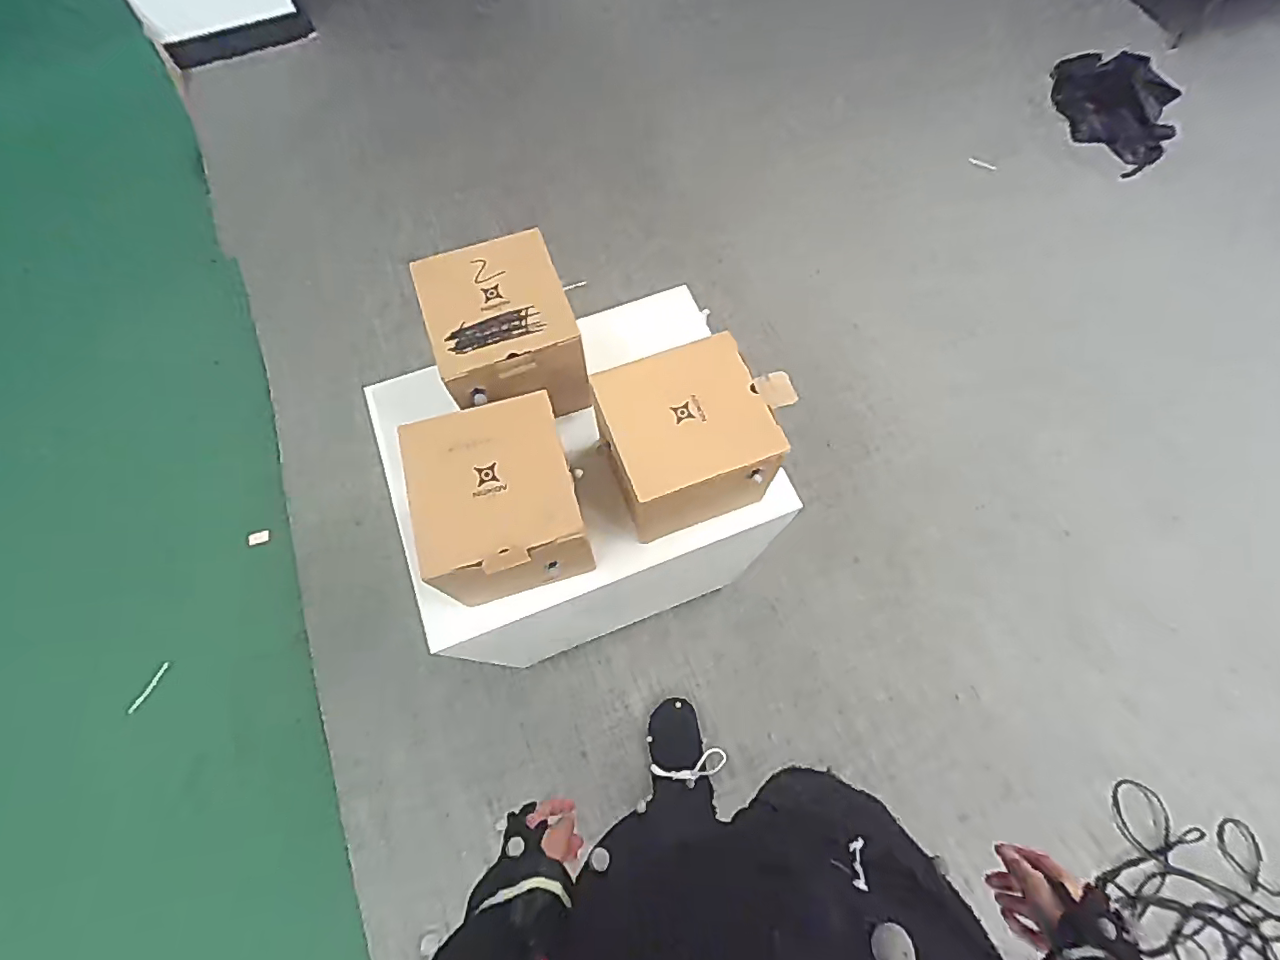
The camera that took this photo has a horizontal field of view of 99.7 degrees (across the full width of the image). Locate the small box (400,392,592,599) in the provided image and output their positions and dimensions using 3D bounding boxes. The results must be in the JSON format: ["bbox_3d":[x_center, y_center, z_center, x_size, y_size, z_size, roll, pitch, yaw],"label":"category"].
[{"bbox_3d":[-0.157,0.030,0.631,0.168,0.176,0.179,-15,68,-8],"label":"small box"}]
